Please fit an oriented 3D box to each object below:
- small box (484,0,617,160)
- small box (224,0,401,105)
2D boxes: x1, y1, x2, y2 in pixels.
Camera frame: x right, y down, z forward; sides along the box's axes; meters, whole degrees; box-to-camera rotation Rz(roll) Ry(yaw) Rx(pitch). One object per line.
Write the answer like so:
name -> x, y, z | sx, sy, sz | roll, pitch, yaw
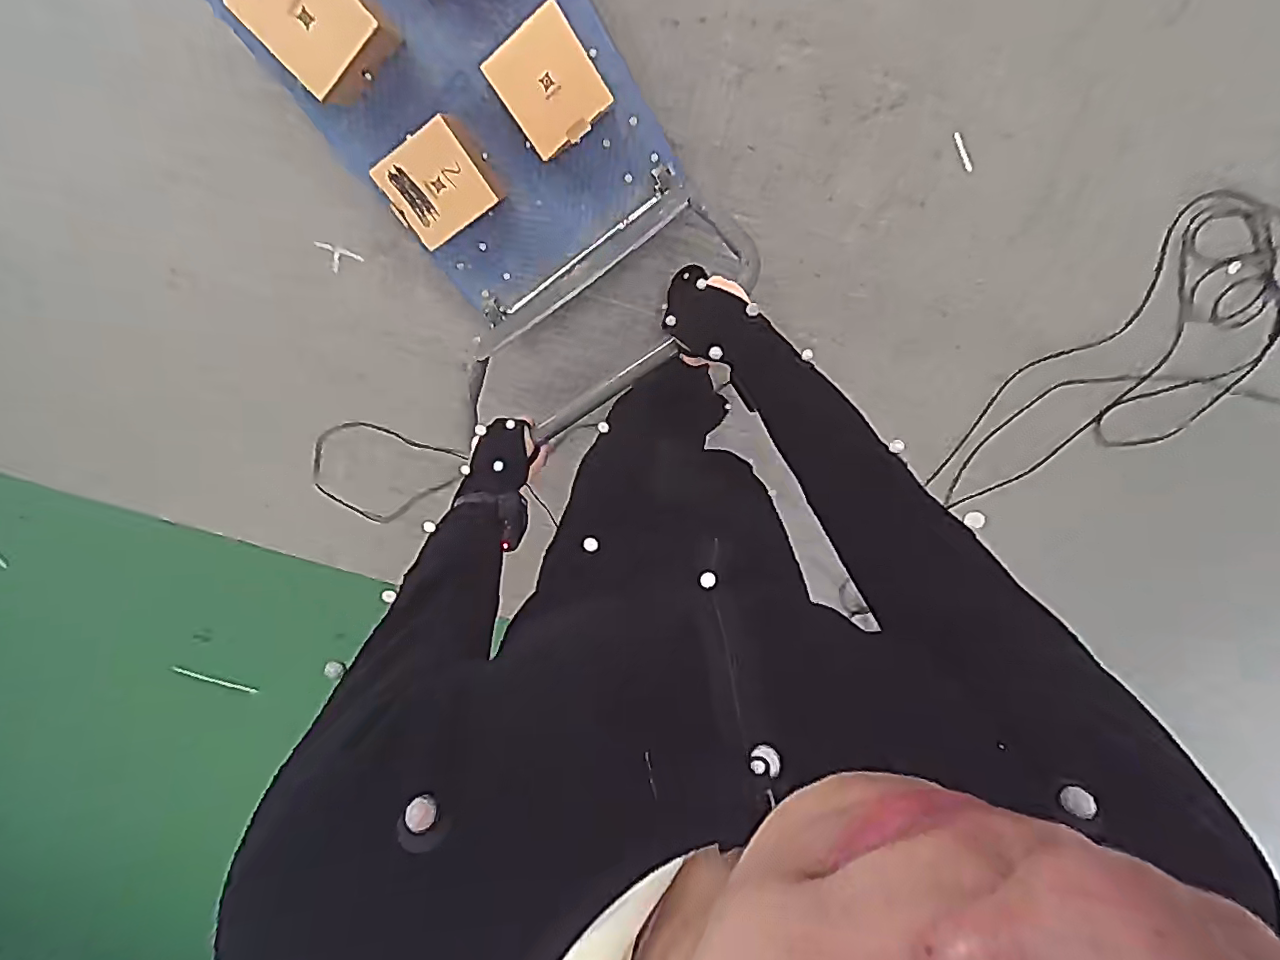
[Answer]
small box -> -0.163, -0.733, 1.012 | 0.168, 0.176, 0.179 | -33, 120, 15
small box -> -0.548, -0.789, 0.935 | 0.168, 0.176, 0.179 | -38, 119, 16
